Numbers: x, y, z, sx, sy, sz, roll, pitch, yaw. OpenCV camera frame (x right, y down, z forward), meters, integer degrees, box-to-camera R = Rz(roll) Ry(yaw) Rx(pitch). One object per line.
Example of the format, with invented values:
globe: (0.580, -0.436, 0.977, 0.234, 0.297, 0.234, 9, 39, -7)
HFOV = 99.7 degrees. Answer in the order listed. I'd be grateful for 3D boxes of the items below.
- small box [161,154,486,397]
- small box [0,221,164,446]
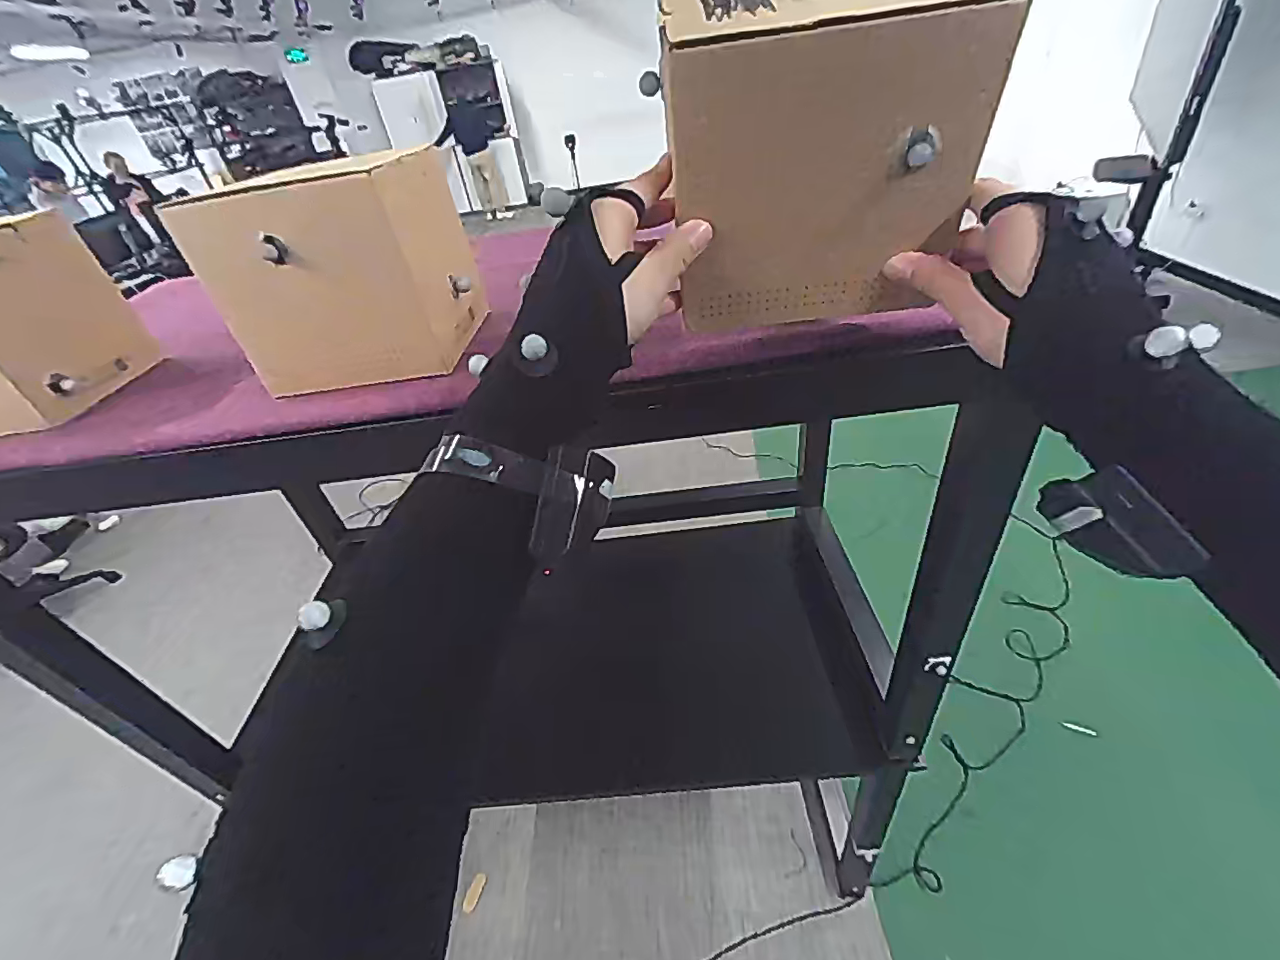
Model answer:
small box: (-0.274, -0.193, 0.519, 0.179, 0.176, 0.168, -7, 38, 6)
small box: (-0.661, -0.142, 0.552, 0.179, 0.176, 0.168, -9, 37, 4)
